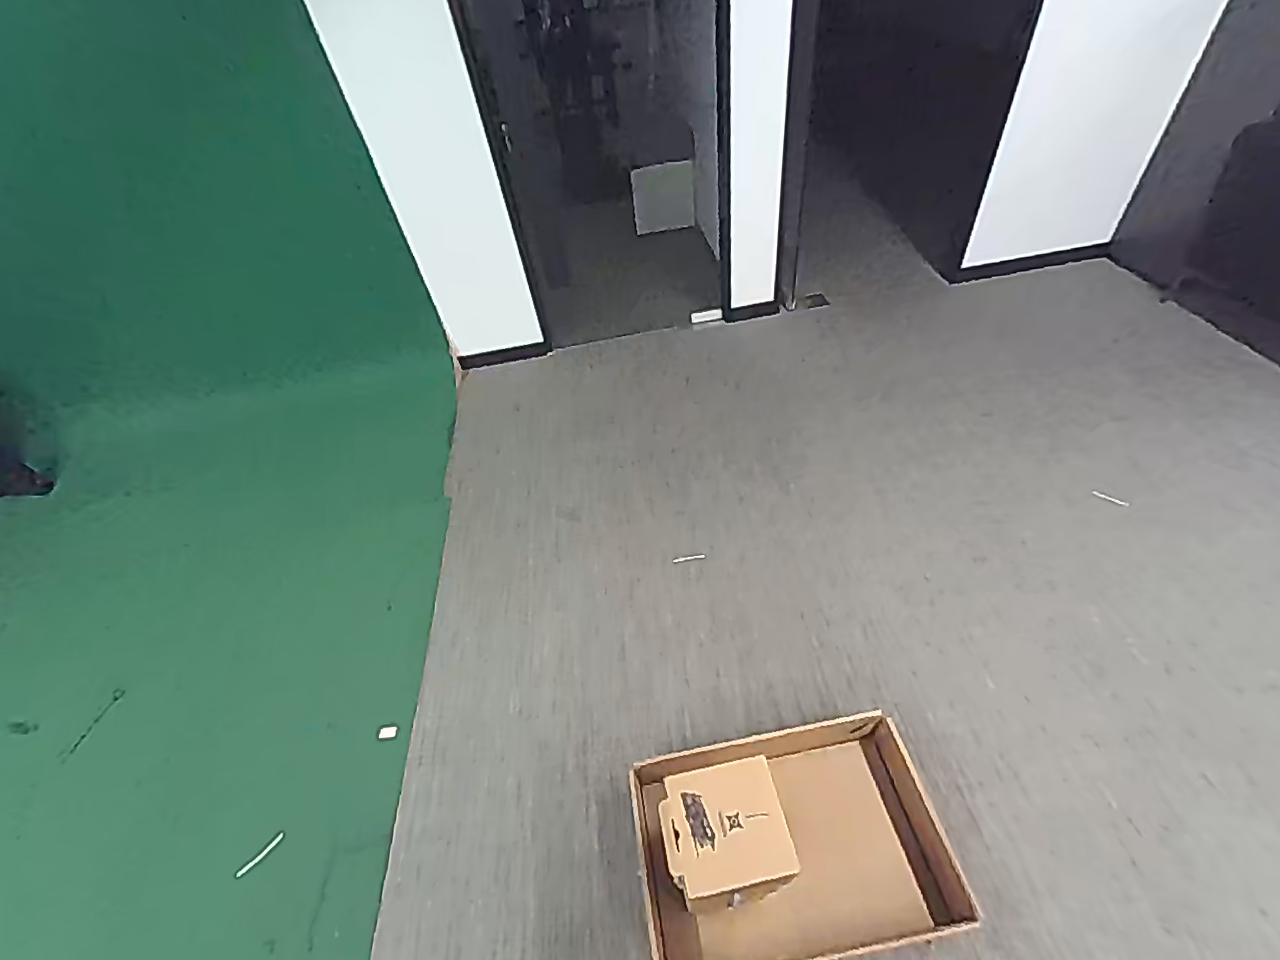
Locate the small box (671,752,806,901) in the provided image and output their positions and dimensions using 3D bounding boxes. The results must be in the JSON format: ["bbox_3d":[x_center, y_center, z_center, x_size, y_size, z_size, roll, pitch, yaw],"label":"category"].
[{"bbox_3d":[0.158,0.582,0.904,0.179,0.176,0.168,-12,49,-3],"label":"small box"}]
